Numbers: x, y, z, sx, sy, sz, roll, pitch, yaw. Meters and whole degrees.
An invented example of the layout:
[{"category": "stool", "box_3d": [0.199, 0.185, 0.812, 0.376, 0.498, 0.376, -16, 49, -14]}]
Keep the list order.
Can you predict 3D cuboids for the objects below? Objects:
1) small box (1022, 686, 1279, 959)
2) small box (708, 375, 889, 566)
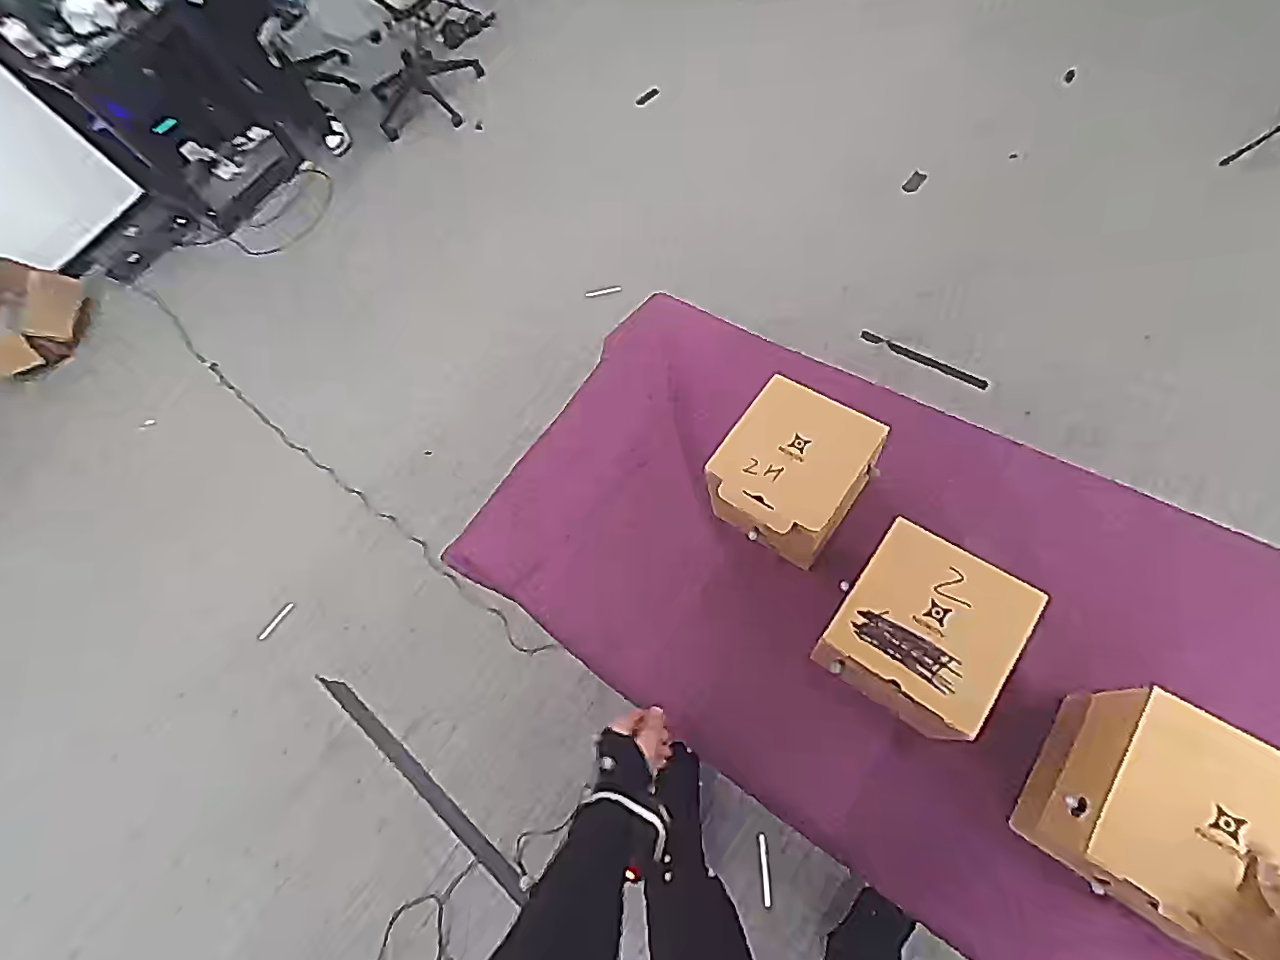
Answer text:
[{"category": "small box", "box_3d": [0.526, 0.332, 0.539, 0.168, 0.176, 0.179, 30, 76, 23]}, {"category": "small box", "box_3d": [0.215, -0.007, 0.759, 0.168, 0.176, 0.179, 32, 77, 24]}]
